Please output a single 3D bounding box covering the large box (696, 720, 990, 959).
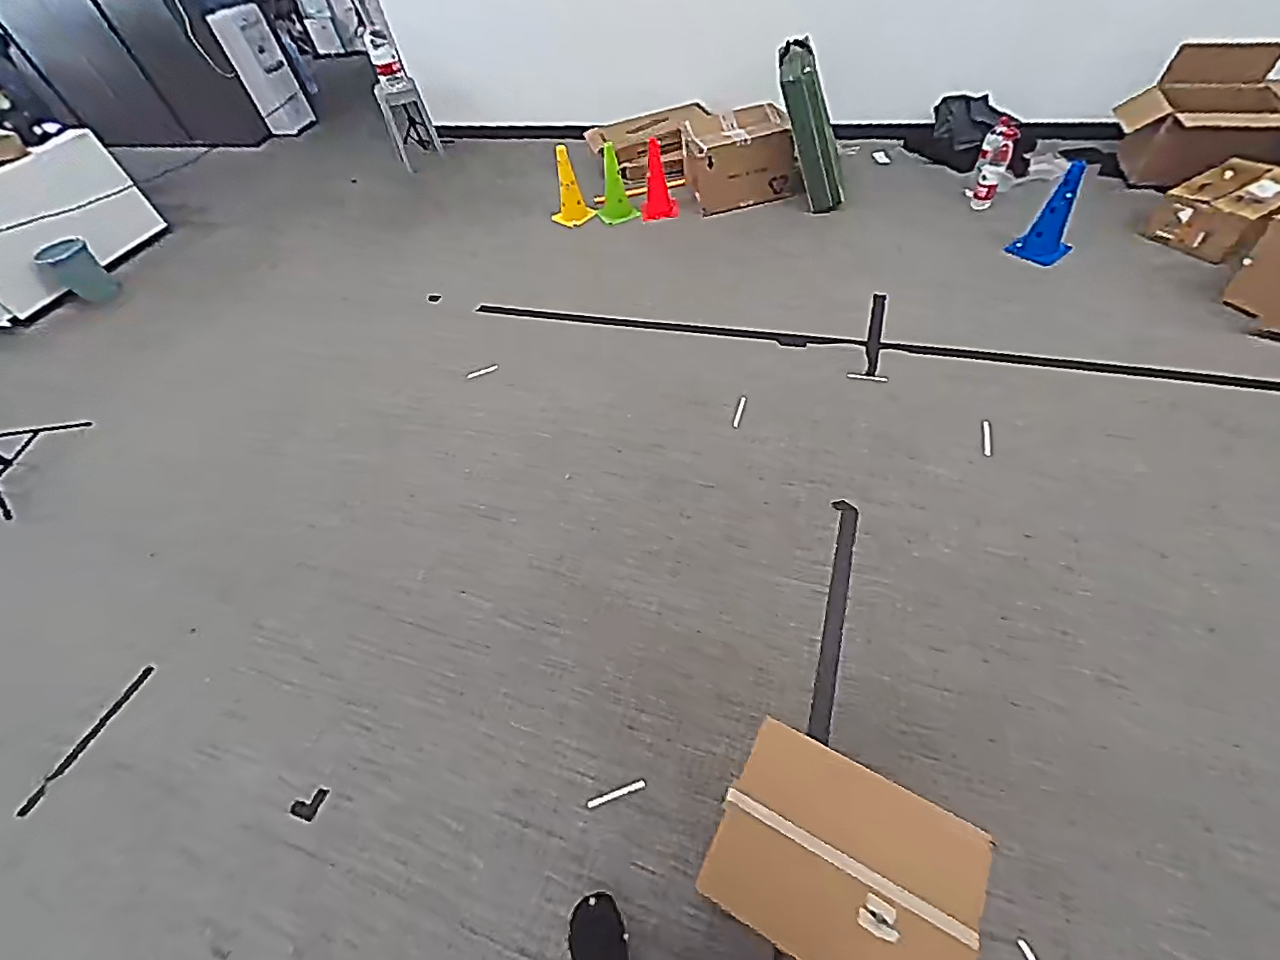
[{"bbox_3d":[0.347,0.723,1.009,0.408,0.320,0.320,22,59,22],"label":"large box"}]
